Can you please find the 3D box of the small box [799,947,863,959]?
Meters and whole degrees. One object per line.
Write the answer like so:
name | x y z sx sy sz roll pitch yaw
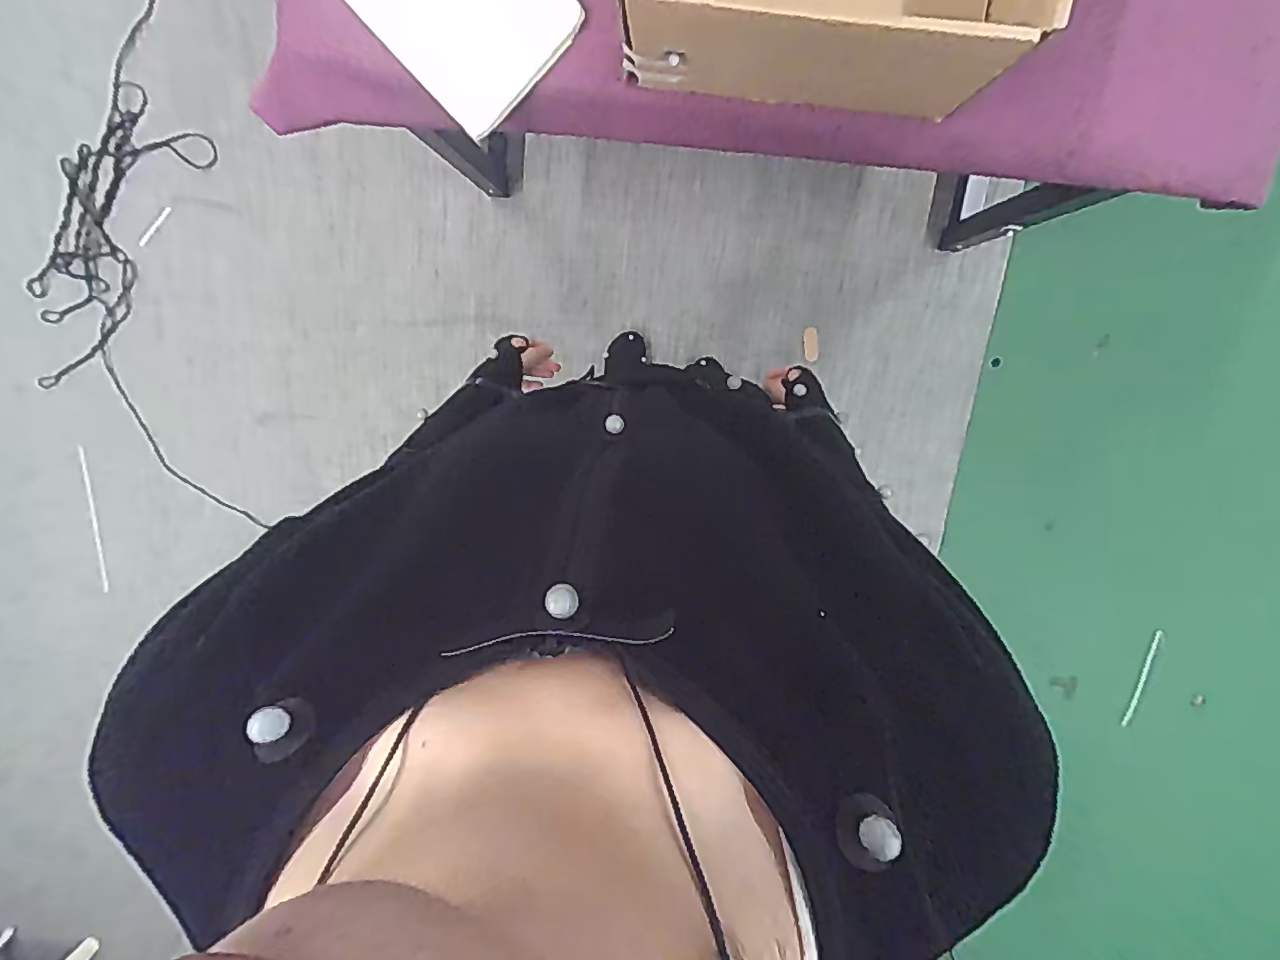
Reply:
small box | 0.513 1.348 1.390 0.168 0.176 0.179 -7 102 5
